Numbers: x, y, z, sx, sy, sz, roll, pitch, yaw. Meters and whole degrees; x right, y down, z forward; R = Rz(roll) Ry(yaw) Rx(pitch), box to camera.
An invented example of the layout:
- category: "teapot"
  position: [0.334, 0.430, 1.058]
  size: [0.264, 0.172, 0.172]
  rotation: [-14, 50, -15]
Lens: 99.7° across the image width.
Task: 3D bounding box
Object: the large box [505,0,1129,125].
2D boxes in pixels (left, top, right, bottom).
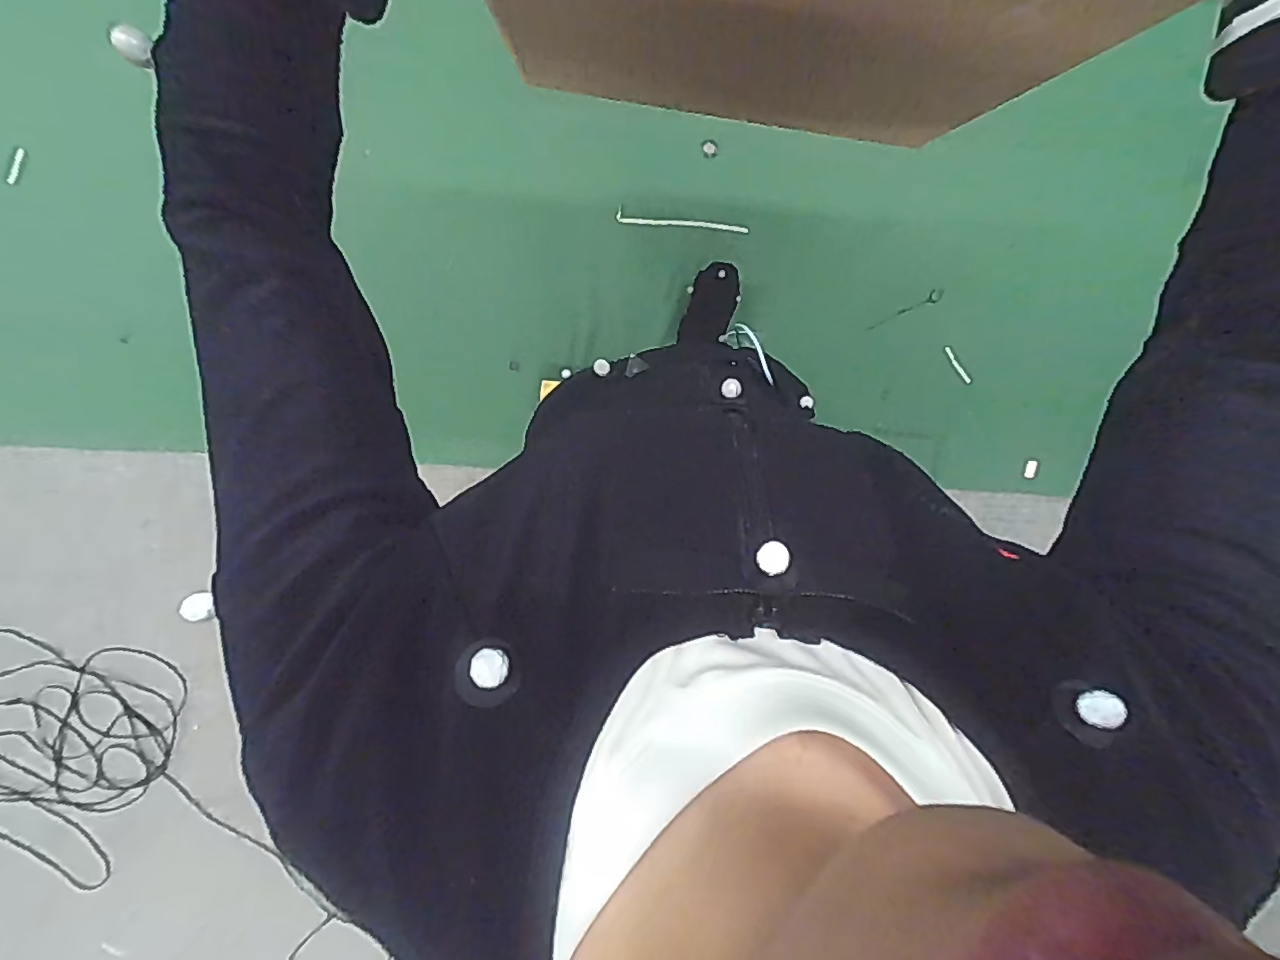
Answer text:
- category: "large box"
  position: [0.110, -0.470, 0.347]
  size: [0.408, 0.320, 0.320]
  rotation: [5, 109, -5]
